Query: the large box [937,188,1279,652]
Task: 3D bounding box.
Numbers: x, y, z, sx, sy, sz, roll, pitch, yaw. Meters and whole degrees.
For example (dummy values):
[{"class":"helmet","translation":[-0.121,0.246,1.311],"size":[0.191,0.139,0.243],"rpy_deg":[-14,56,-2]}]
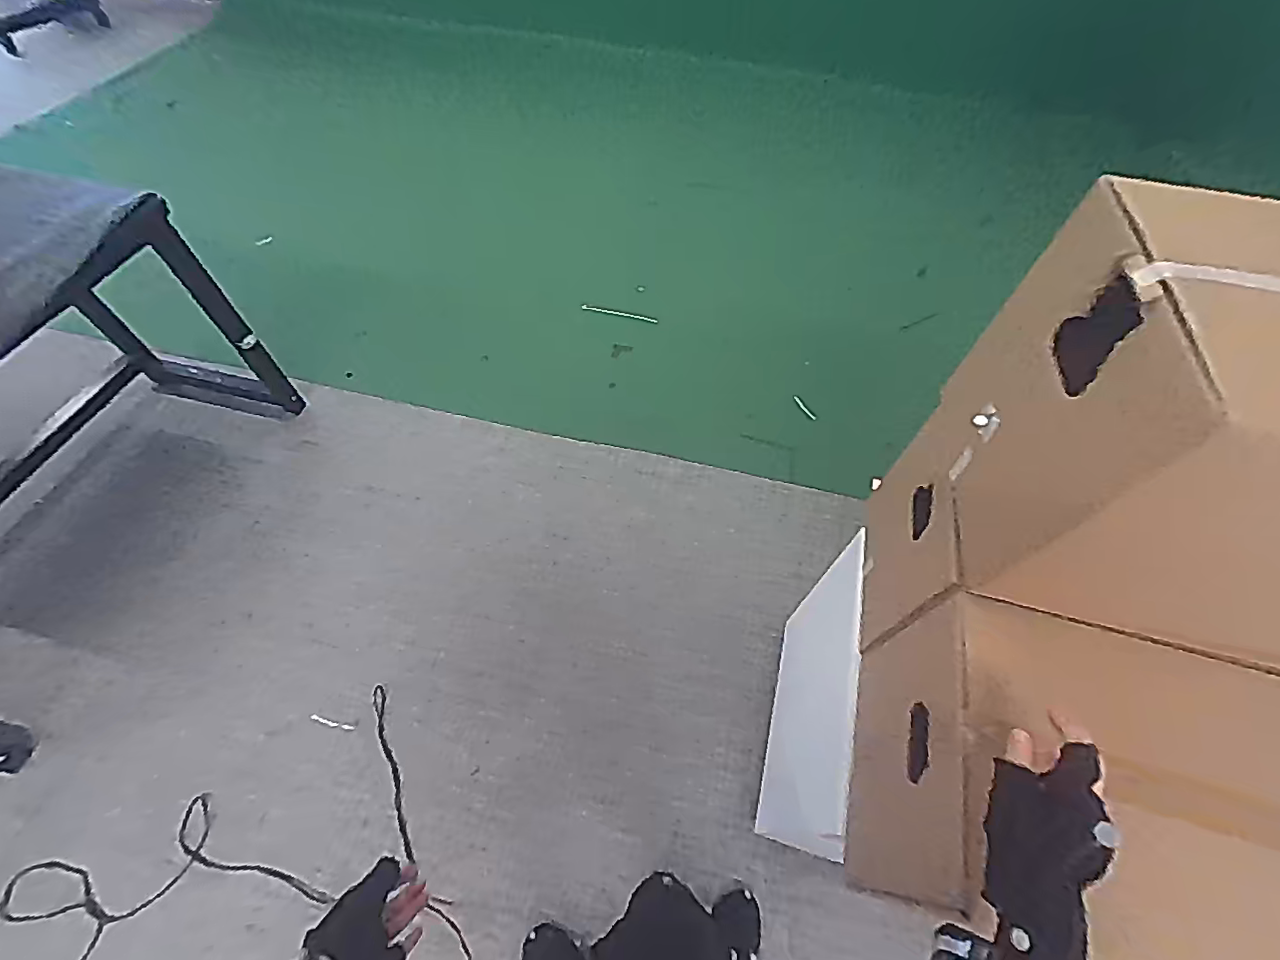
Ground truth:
[{"class":"large box","translation":[0.593,-0.043,0.552],"size":[0.408,0.320,0.320],"rpy_deg":[12,57,4]}]
